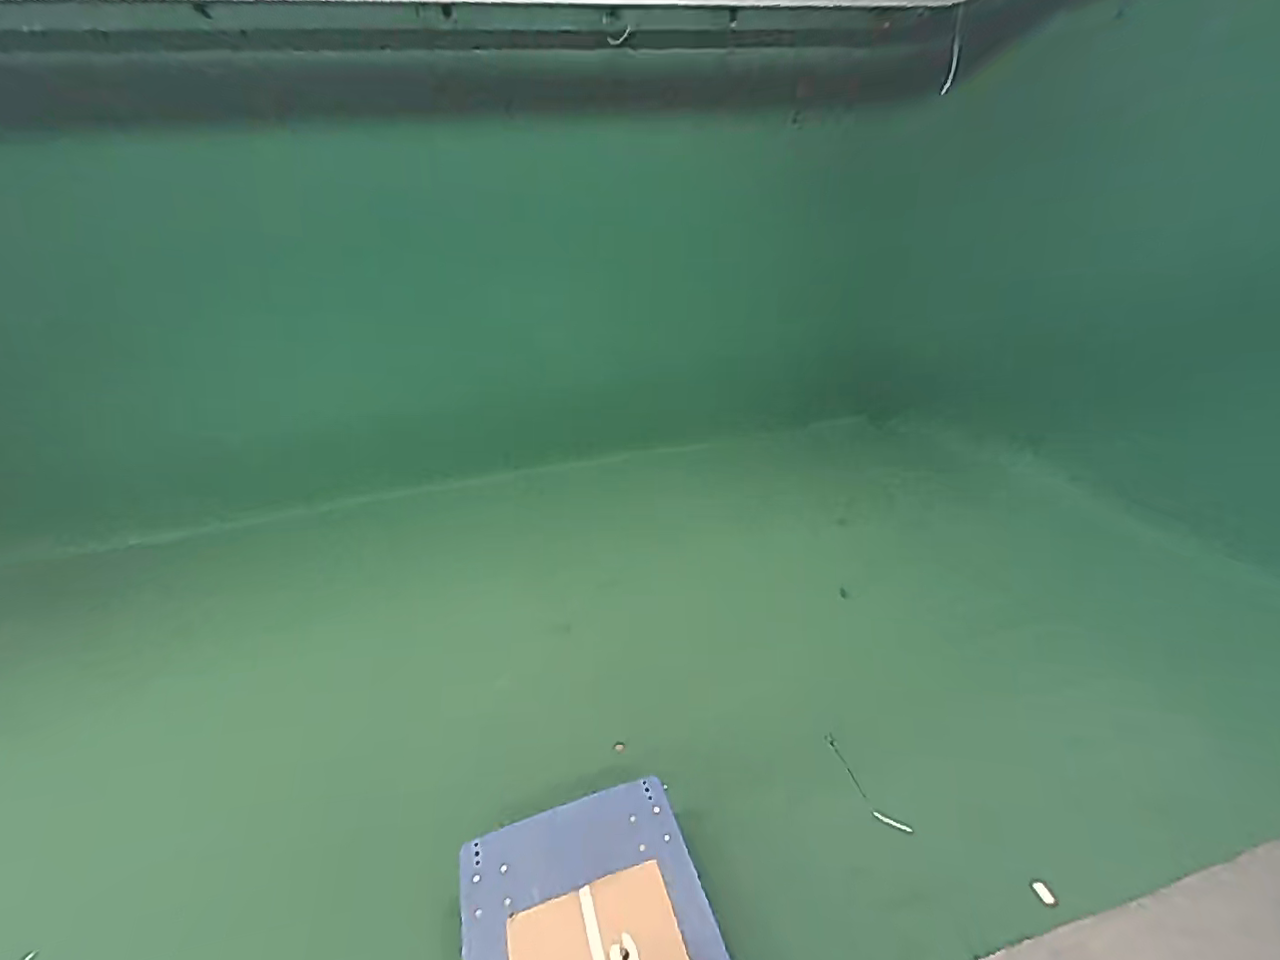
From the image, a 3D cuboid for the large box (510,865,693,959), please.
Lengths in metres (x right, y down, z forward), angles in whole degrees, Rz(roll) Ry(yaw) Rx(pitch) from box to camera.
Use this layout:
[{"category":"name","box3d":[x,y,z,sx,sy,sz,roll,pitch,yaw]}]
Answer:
[{"category":"large box","box3d":[-0.028,1.034,0.971,0.320,0.320,0.408,-12,28,-15]}]
